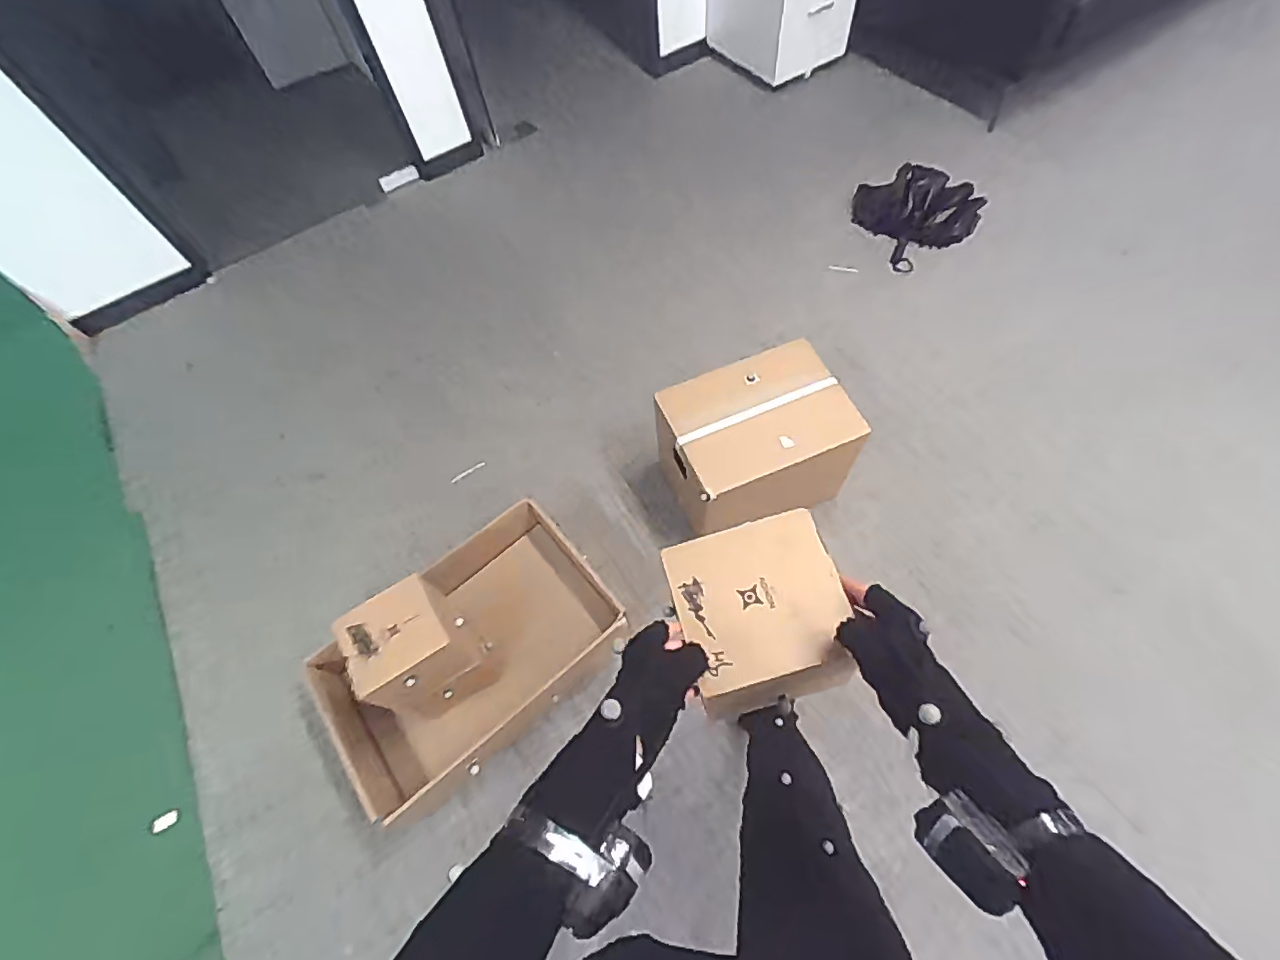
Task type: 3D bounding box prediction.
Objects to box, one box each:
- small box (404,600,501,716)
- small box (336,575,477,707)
[{"bbox_3d":[-0.439,0.403,1.210,0.179,0.176,0.168,-30,63,-14],"label":"small box"},{"bbox_3d":[-0.453,0.324,1.067,0.179,0.176,0.168,-31,63,-14],"label":"small box"}]
